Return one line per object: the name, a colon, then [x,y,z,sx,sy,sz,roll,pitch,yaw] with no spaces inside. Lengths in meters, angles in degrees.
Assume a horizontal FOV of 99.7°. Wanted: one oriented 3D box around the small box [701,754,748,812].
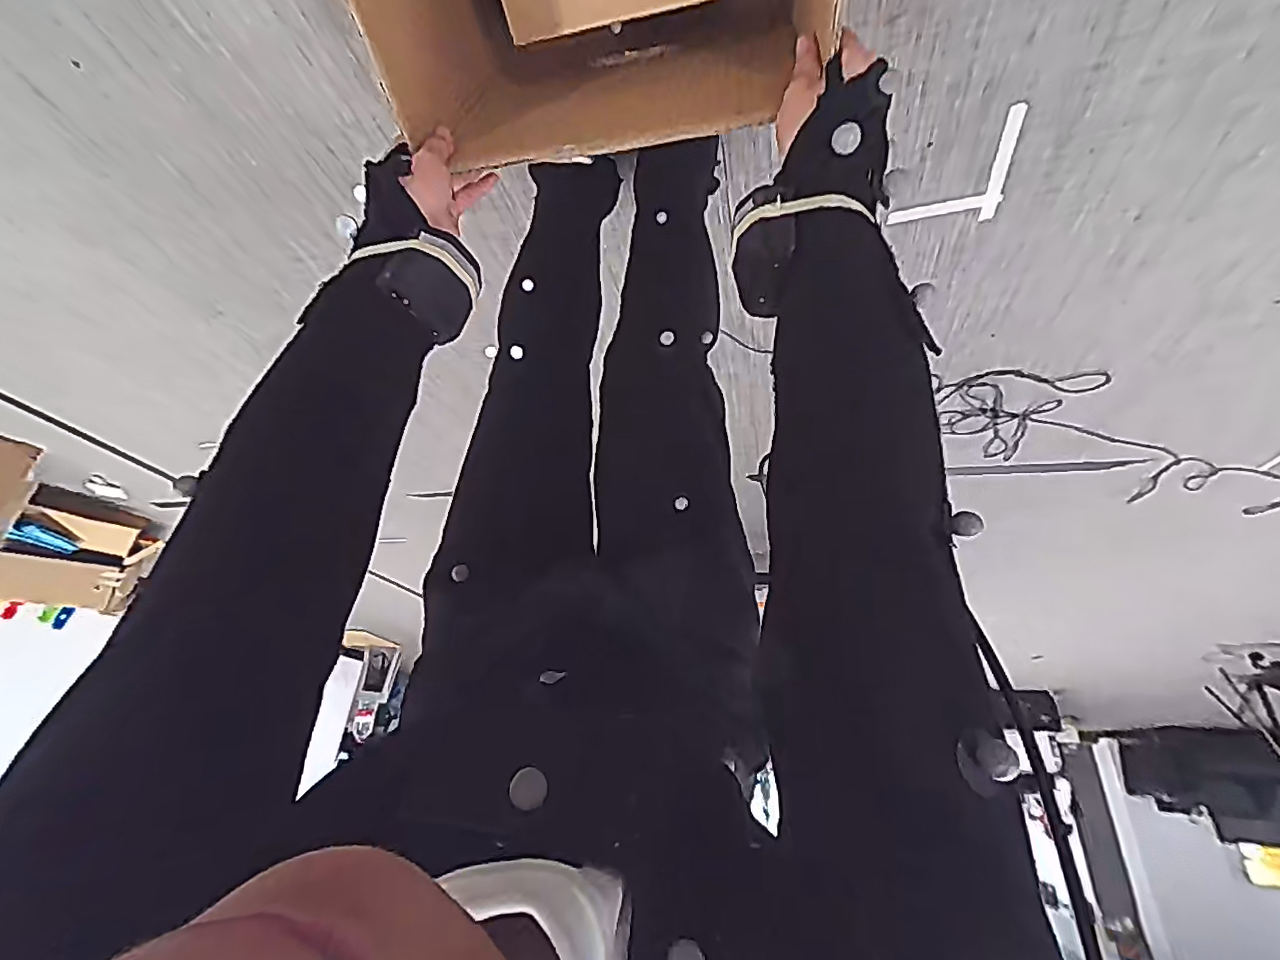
small box: [0.314,1.111,1.989,0.168,0.176,0.179,-2,152,11]
